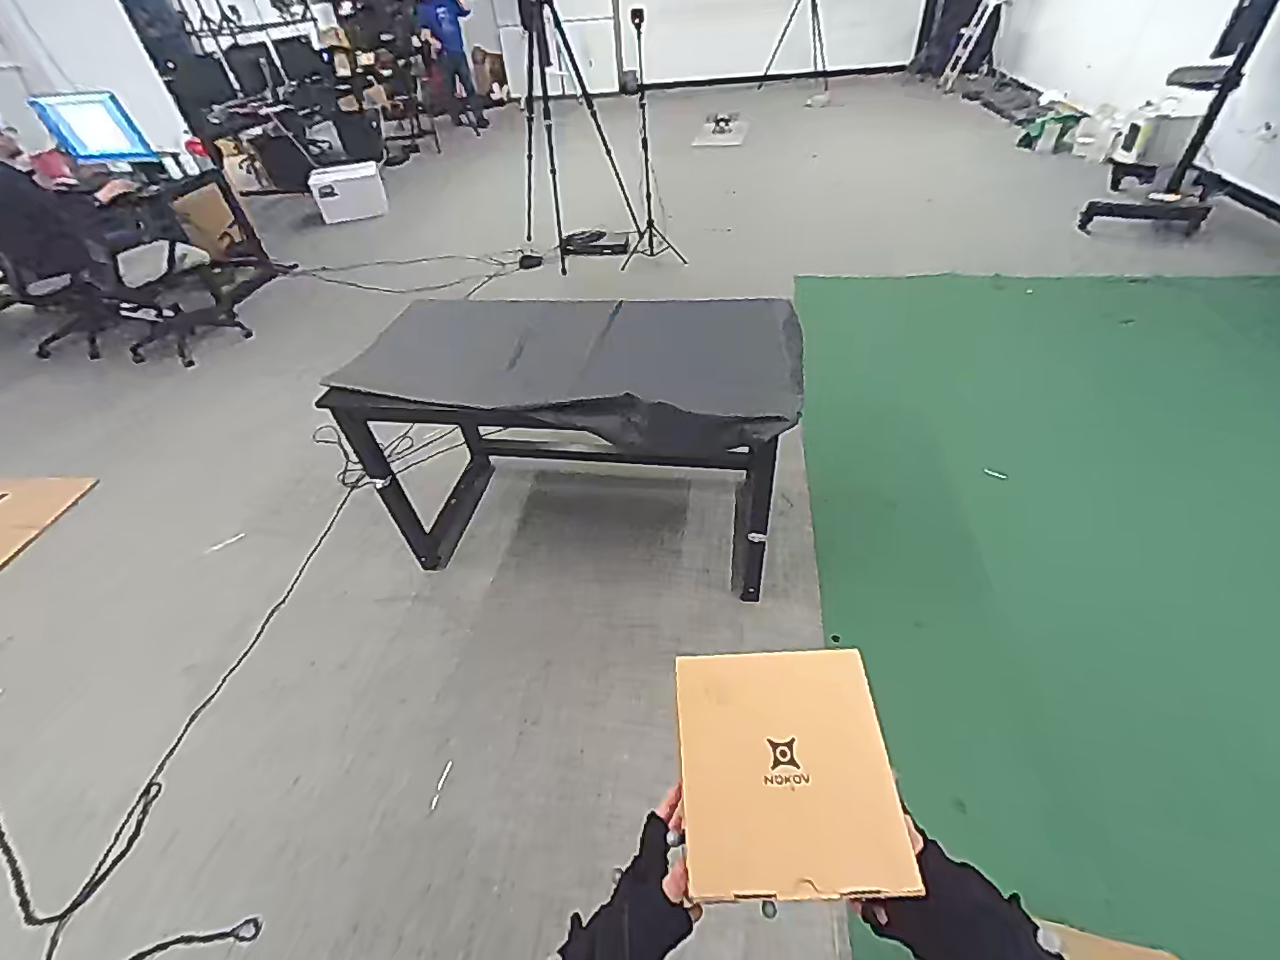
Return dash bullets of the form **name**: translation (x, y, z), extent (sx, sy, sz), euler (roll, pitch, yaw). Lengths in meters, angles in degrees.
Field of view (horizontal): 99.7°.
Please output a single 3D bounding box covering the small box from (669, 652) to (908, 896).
- **small box**: translation (0.114, 0.275, 0.504), extent (0.168, 0.176, 0.179), euler (-2, 54, 1)
